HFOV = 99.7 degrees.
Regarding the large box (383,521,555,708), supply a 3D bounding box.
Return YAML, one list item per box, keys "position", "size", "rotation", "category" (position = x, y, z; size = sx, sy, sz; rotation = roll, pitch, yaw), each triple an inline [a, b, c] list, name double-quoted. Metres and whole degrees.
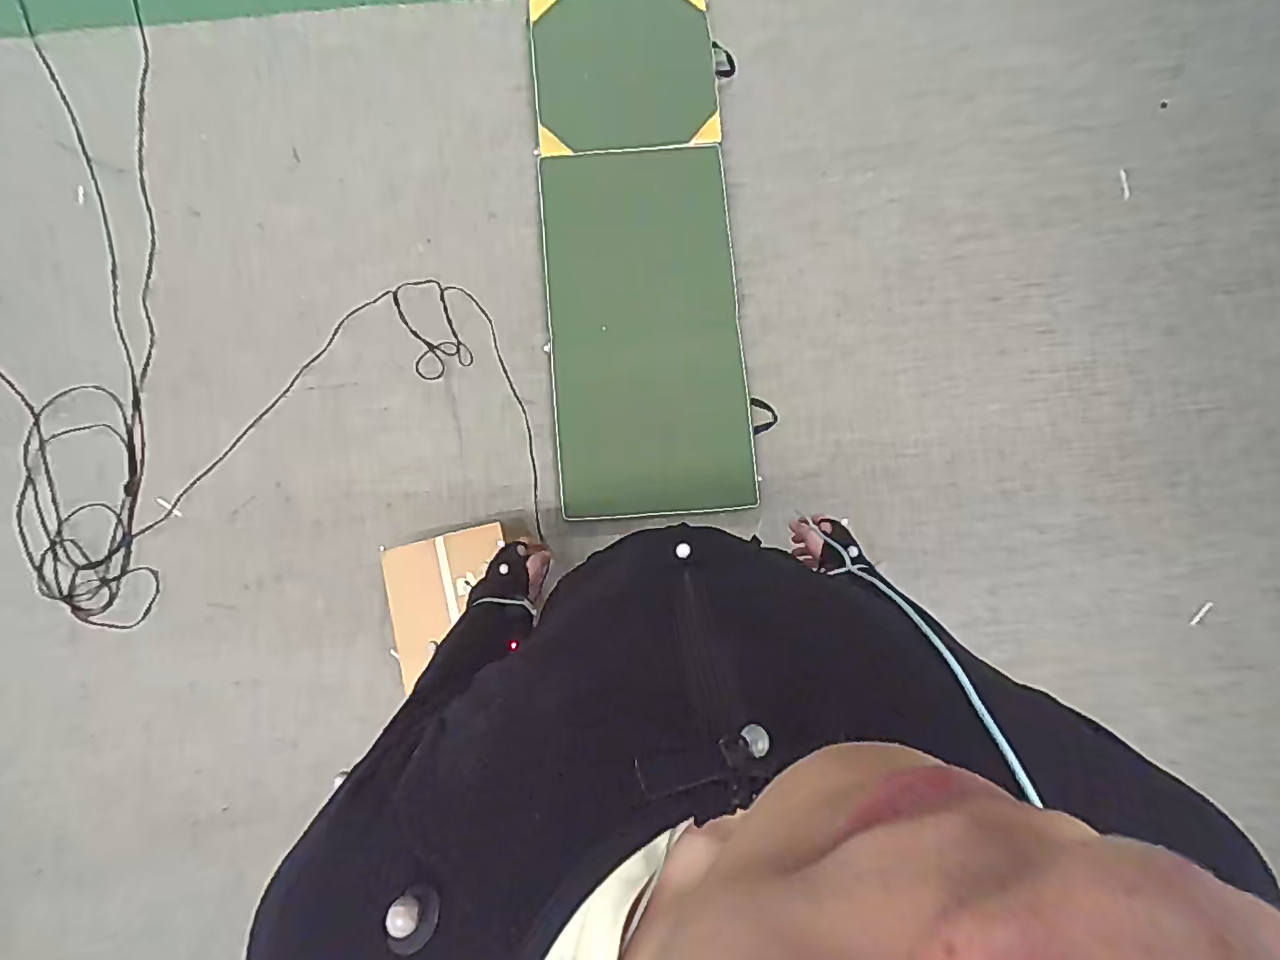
- position: [-0.452, 0.351, 1.491]
  size: [0.320, 0.320, 0.408]
  rotation: [-14, 82, -1]
  category: "large box"
